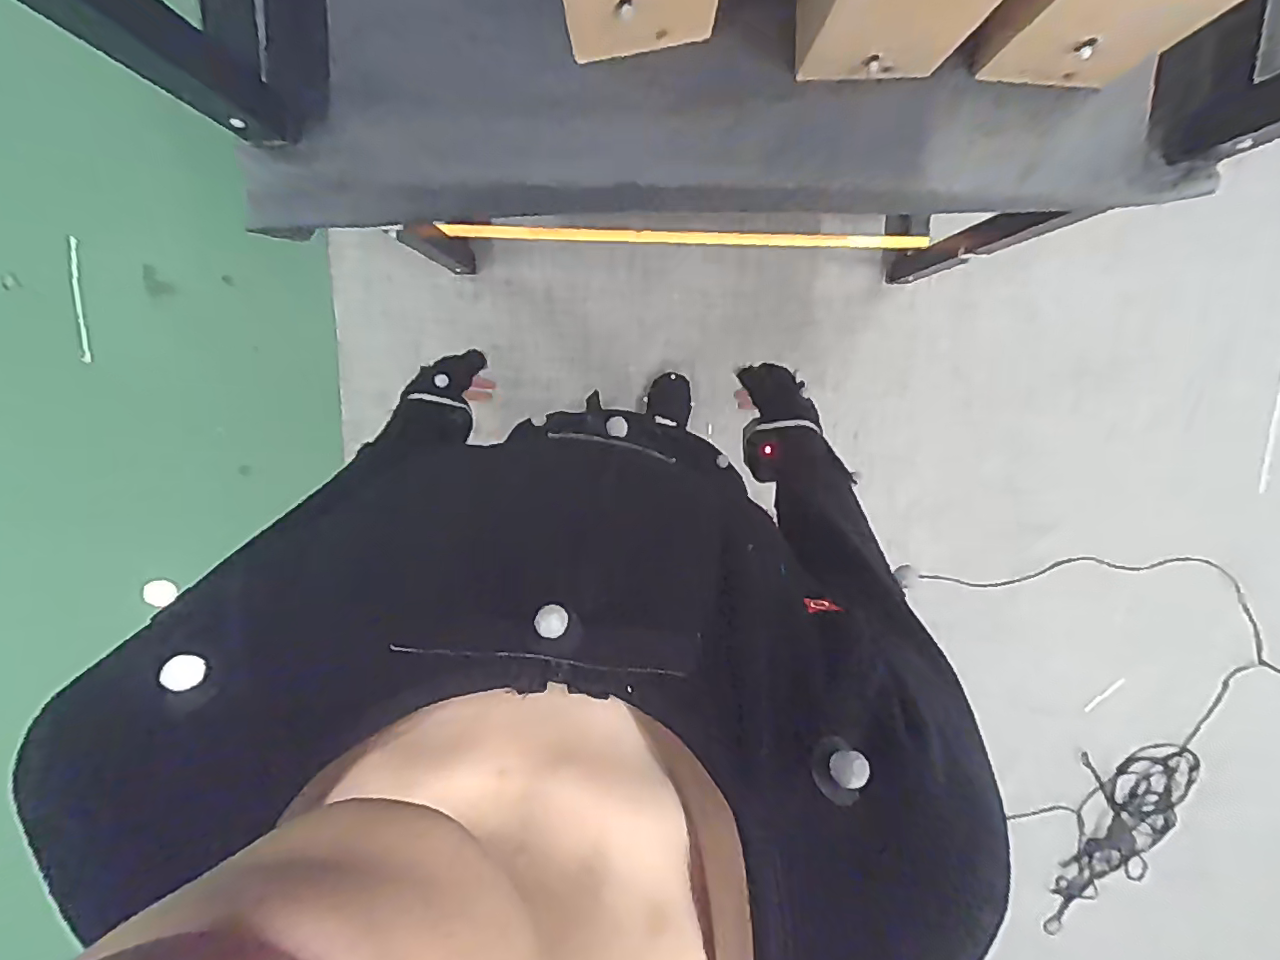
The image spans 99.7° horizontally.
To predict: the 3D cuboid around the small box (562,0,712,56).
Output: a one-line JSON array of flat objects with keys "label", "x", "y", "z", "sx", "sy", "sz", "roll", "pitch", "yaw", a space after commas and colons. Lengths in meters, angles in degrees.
[{"label": "small box", "x": -0.012, "y": -0.583, "z": 0.562, "sx": 0.168, "sy": 0.176, "sz": 0.179, "roll": -10, "pitch": 100, "yaw": 1}]
